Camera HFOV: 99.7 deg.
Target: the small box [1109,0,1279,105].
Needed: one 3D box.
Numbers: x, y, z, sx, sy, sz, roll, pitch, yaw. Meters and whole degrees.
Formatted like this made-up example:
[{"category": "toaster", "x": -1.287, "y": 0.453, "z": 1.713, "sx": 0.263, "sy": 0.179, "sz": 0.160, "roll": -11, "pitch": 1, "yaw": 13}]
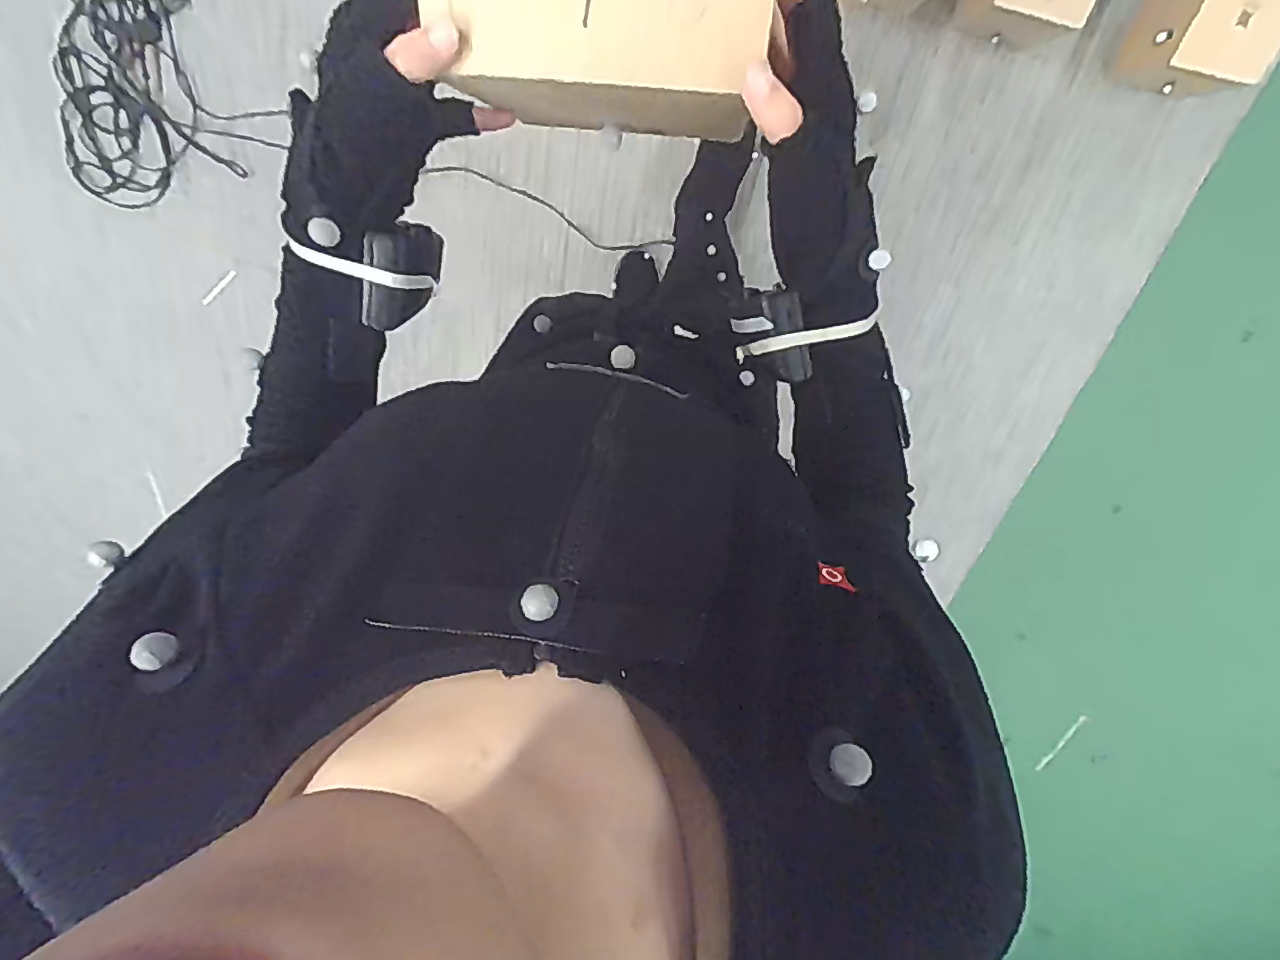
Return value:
[{"category": "small box", "x": 1.018, "y": -0.807, "z": 0.982, "sx": 0.168, "sy": 0.176, "sz": 0.179, "roll": 12, "pitch": 118, "yaw": -3}]
